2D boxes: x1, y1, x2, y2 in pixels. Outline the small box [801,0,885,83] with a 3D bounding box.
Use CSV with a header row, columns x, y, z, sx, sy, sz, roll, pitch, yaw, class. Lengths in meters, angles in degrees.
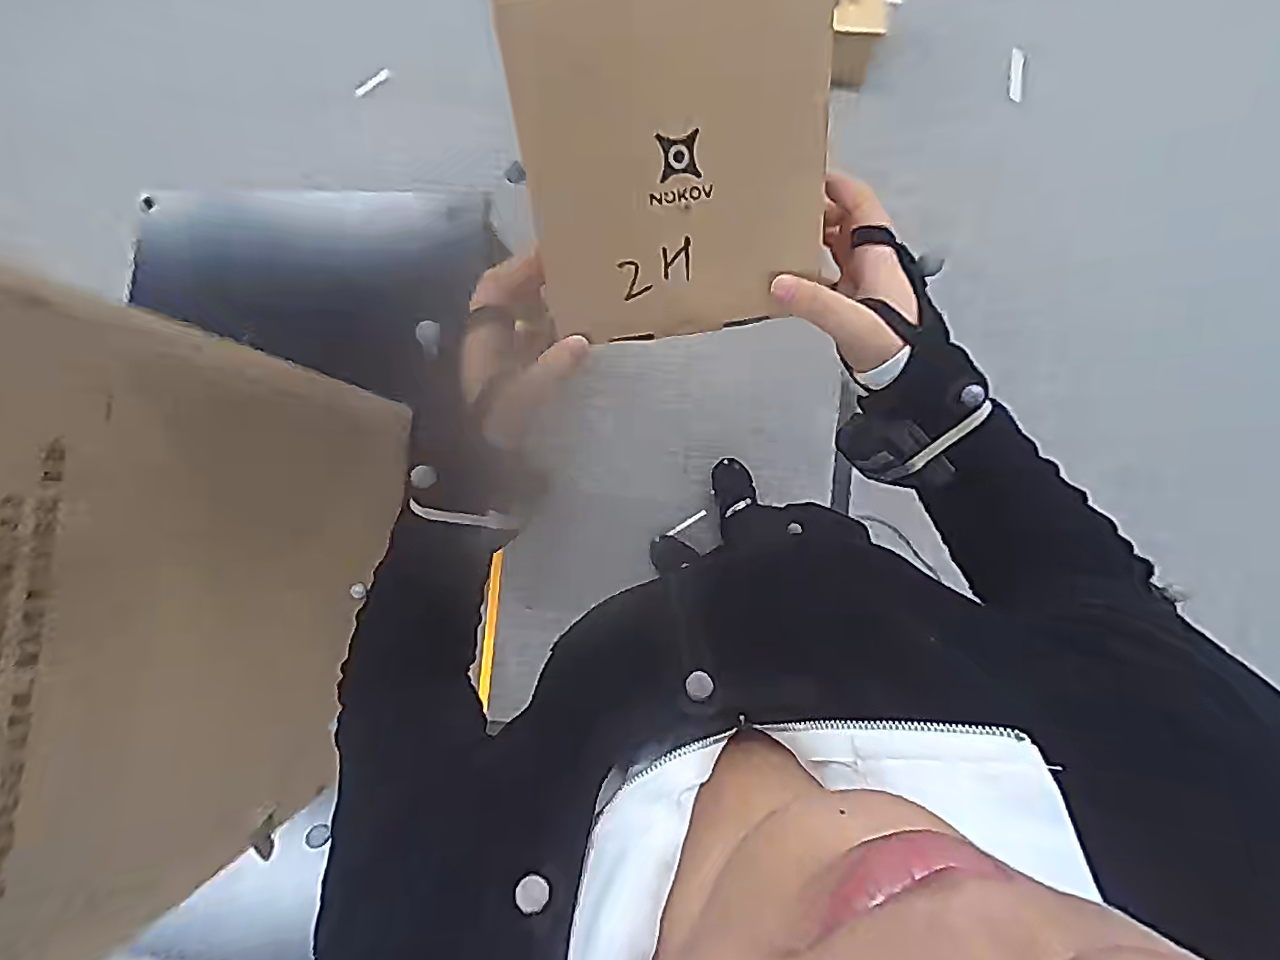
x,y,z,sx,sy,sz,roll,pitch,yaw,class
0.545,-1.220,1.465,0.179,0.176,0.168,7,88,5,small box
